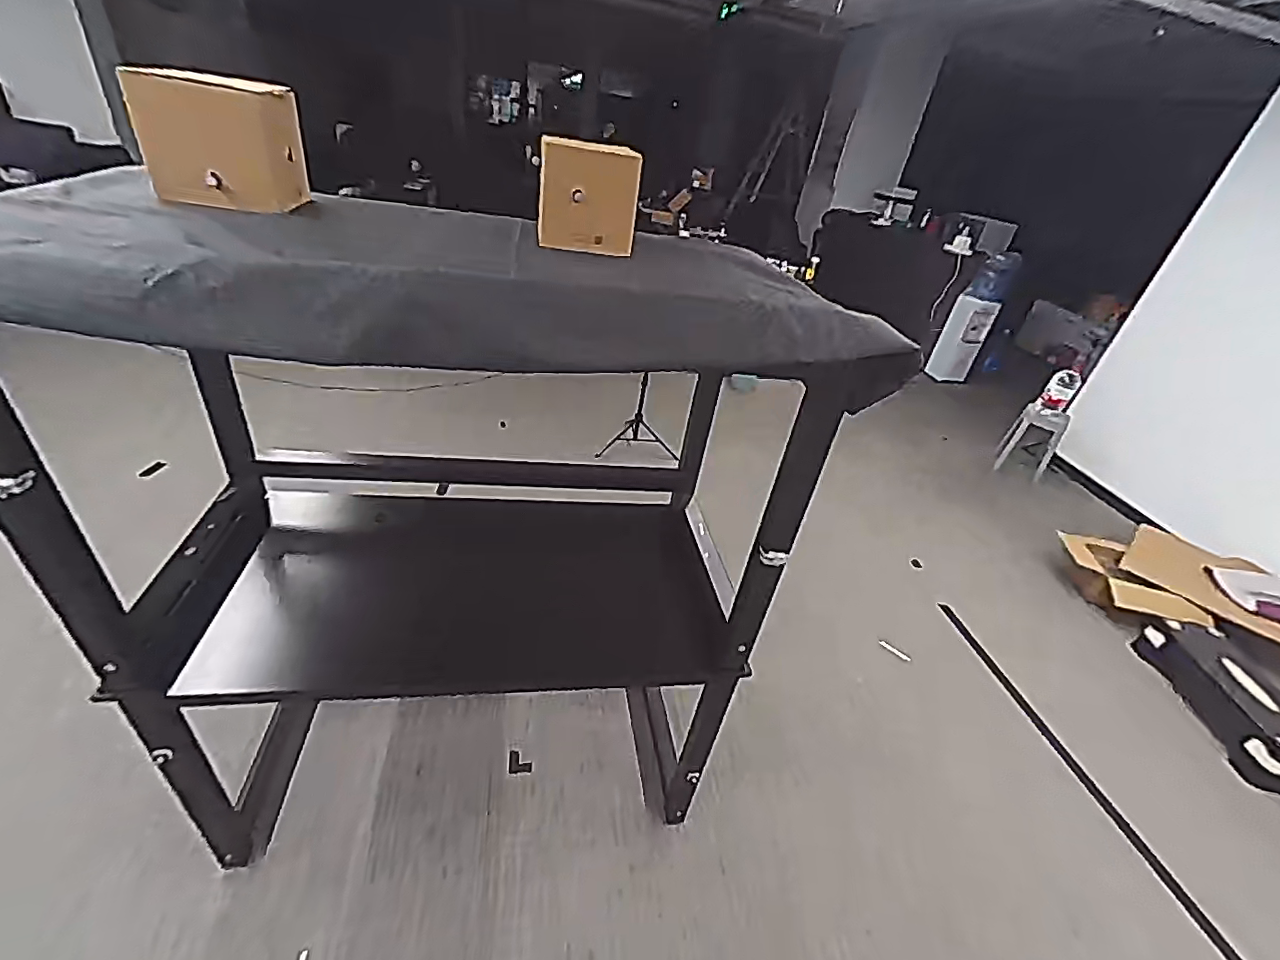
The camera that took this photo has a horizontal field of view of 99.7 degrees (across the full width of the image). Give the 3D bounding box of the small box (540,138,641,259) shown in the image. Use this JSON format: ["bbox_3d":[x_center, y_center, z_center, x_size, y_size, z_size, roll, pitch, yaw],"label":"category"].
[{"bbox_3d":[-0.099,-0.523,1.008,0.168,0.176,0.179,1,34,-13],"label":"small box"}]

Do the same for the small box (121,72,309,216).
[{"bbox_3d":[-0.660,-0.536,0.871,0.179,0.176,0.168,2,34,-15],"label":"small box"}]
